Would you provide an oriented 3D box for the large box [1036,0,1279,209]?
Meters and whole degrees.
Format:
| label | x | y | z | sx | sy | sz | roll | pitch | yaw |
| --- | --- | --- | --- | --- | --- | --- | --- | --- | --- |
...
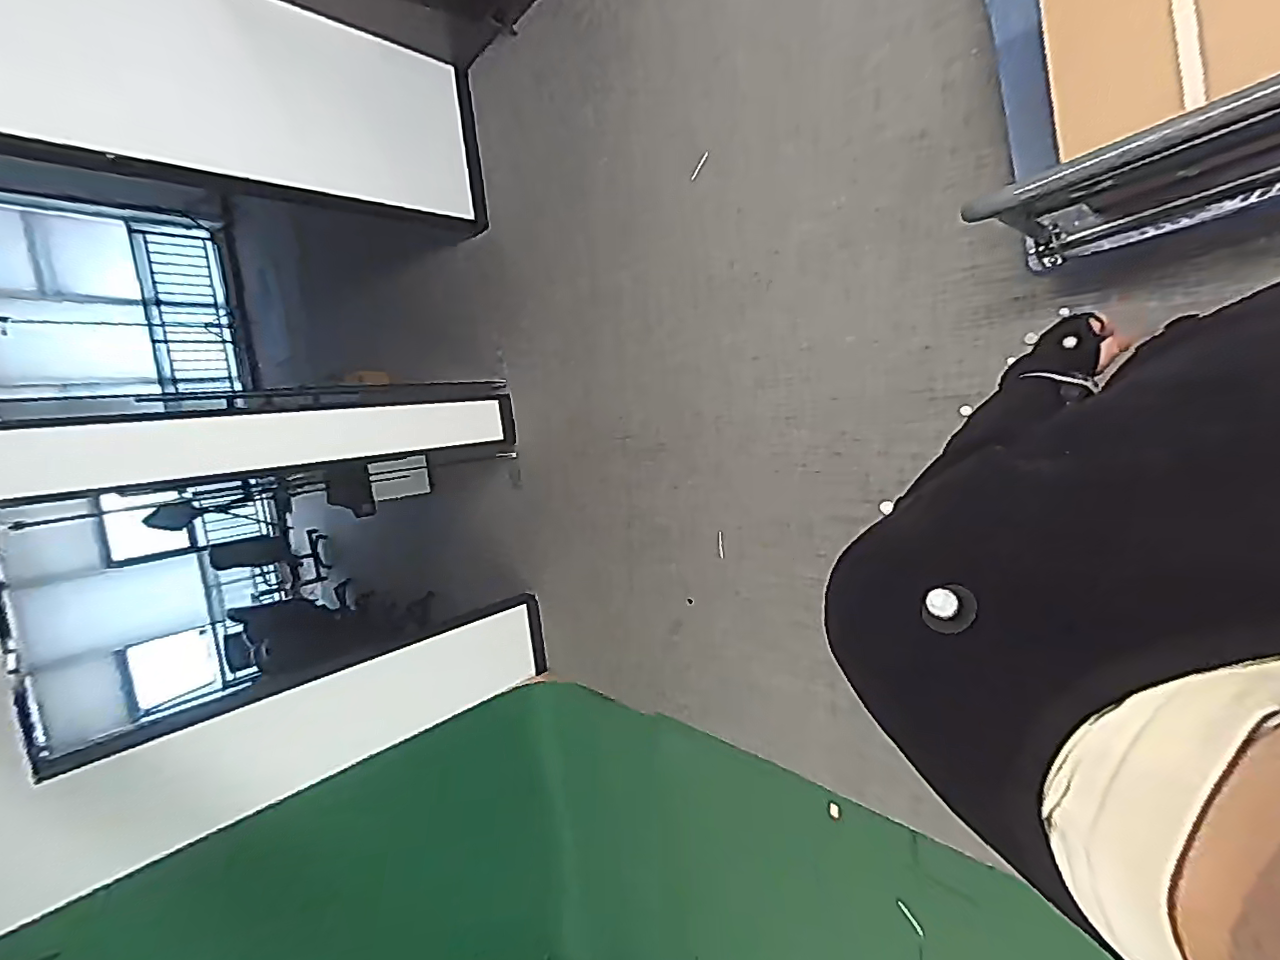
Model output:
| label | x | y | z | sx | sy | sz | roll | pitch | yaw |
| --- | --- | --- | --- | --- | --- | --- | --- | --- | --- |
| large box | 0.882 | -0.734 | 0.881 | 0.320 | 0.320 | 0.408 | -8 | 92 | 46 |
